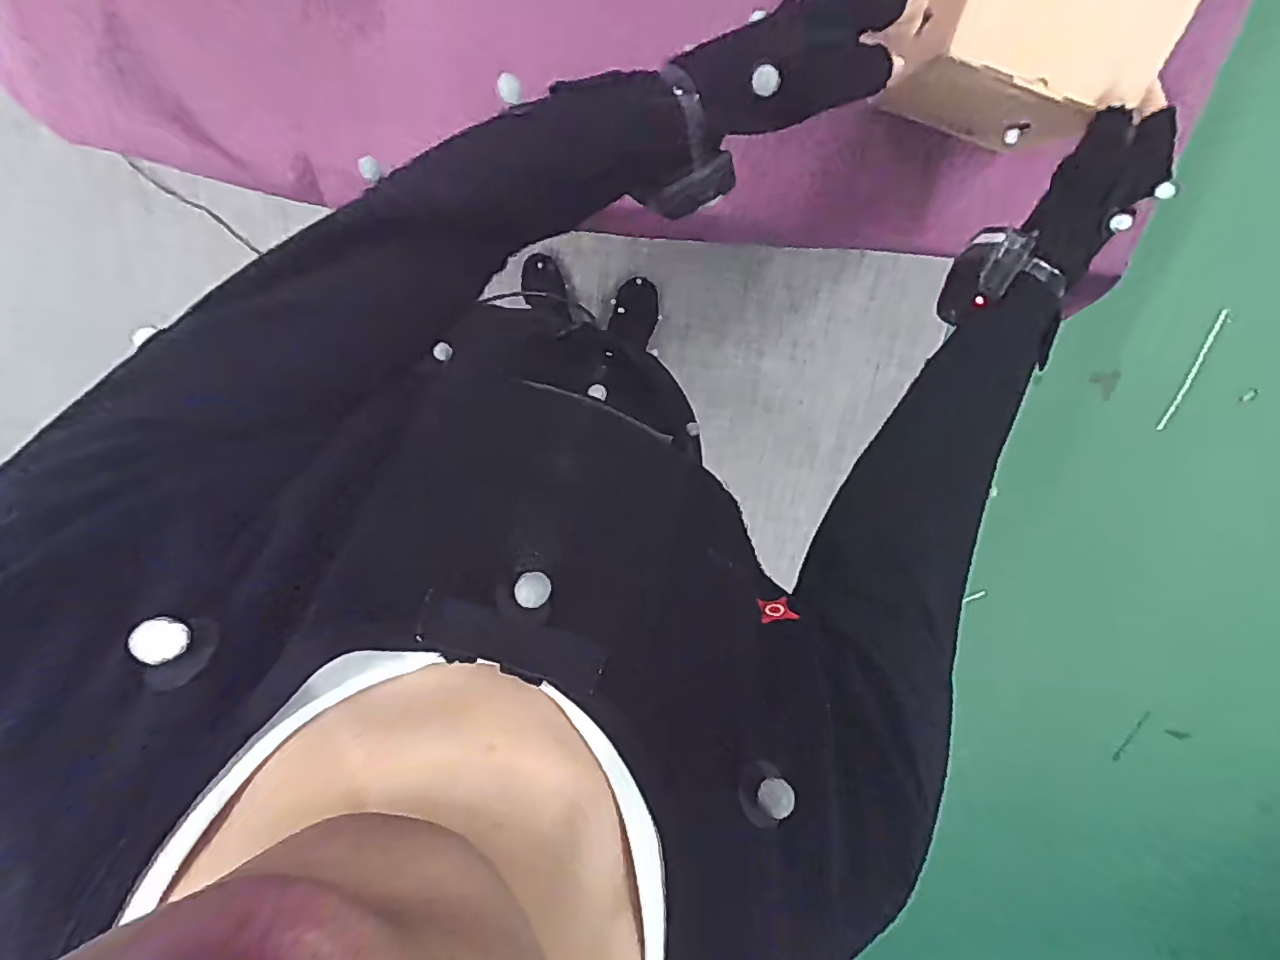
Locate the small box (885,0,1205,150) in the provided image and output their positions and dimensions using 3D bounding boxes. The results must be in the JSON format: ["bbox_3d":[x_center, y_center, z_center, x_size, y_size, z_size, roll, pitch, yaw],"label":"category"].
[{"bbox_3d":[0.340,-0.409,0.462,0.168,0.176,0.179,16,113,-6],"label":"small box"}]
